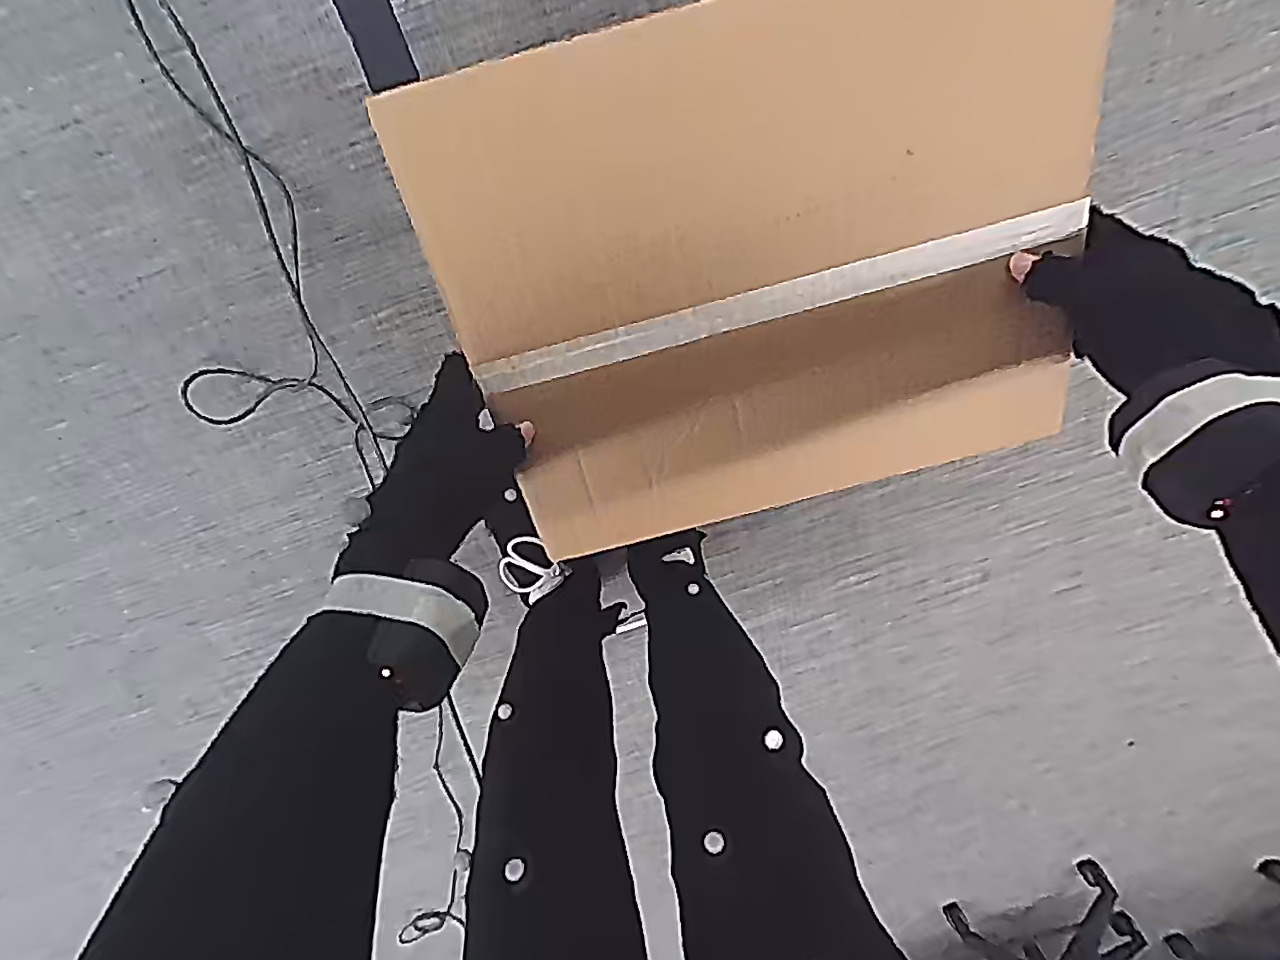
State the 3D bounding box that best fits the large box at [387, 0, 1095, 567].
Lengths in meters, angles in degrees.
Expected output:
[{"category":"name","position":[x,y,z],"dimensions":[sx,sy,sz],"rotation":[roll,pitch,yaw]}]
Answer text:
[{"category":"large box","position":[0.073,-0.179,0.489],"dimensions":[0.408,0.320,0.320],"rotation":[-15,117,2]}]
